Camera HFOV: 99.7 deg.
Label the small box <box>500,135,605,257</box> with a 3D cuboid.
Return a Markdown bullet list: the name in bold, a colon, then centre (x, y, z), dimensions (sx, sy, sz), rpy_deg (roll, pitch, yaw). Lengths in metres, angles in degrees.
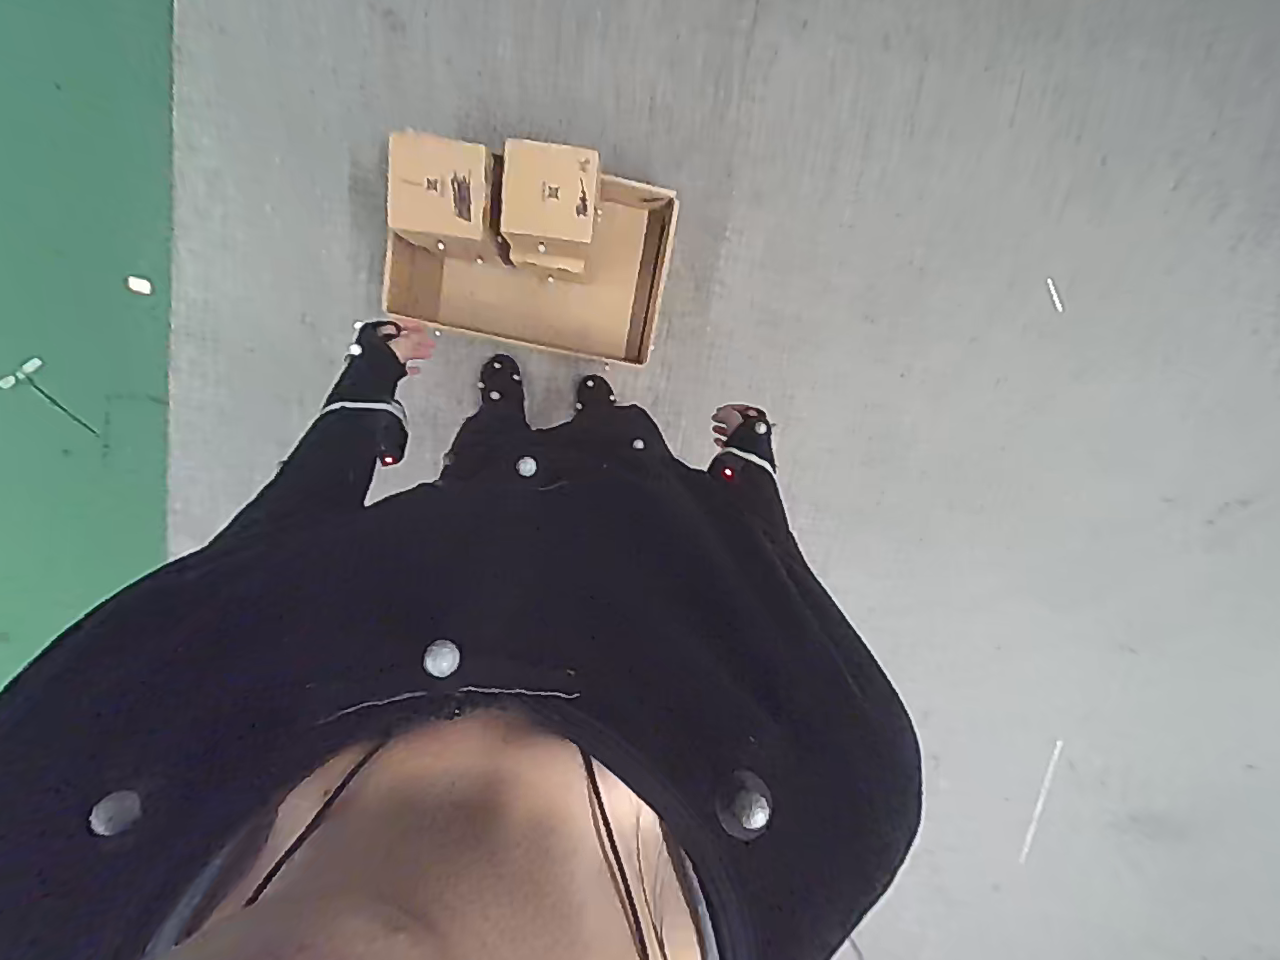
- **small box**: centre (-0.169, -0.558, 1.085), dimensions (0.179, 0.176, 0.168), rpy_deg (7, 101, -3)

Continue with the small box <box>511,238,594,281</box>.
- **small box**: centre (-0.189, -0.575, 1.248), dimensions (0.168, 0.176, 0.179), rpy_deg (11, 102, -4)

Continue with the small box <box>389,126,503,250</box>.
- **small box**: centre (-0.375, -0.564, 1.070), dimensions (0.179, 0.176, 0.168), rpy_deg (7, 102, -5)
